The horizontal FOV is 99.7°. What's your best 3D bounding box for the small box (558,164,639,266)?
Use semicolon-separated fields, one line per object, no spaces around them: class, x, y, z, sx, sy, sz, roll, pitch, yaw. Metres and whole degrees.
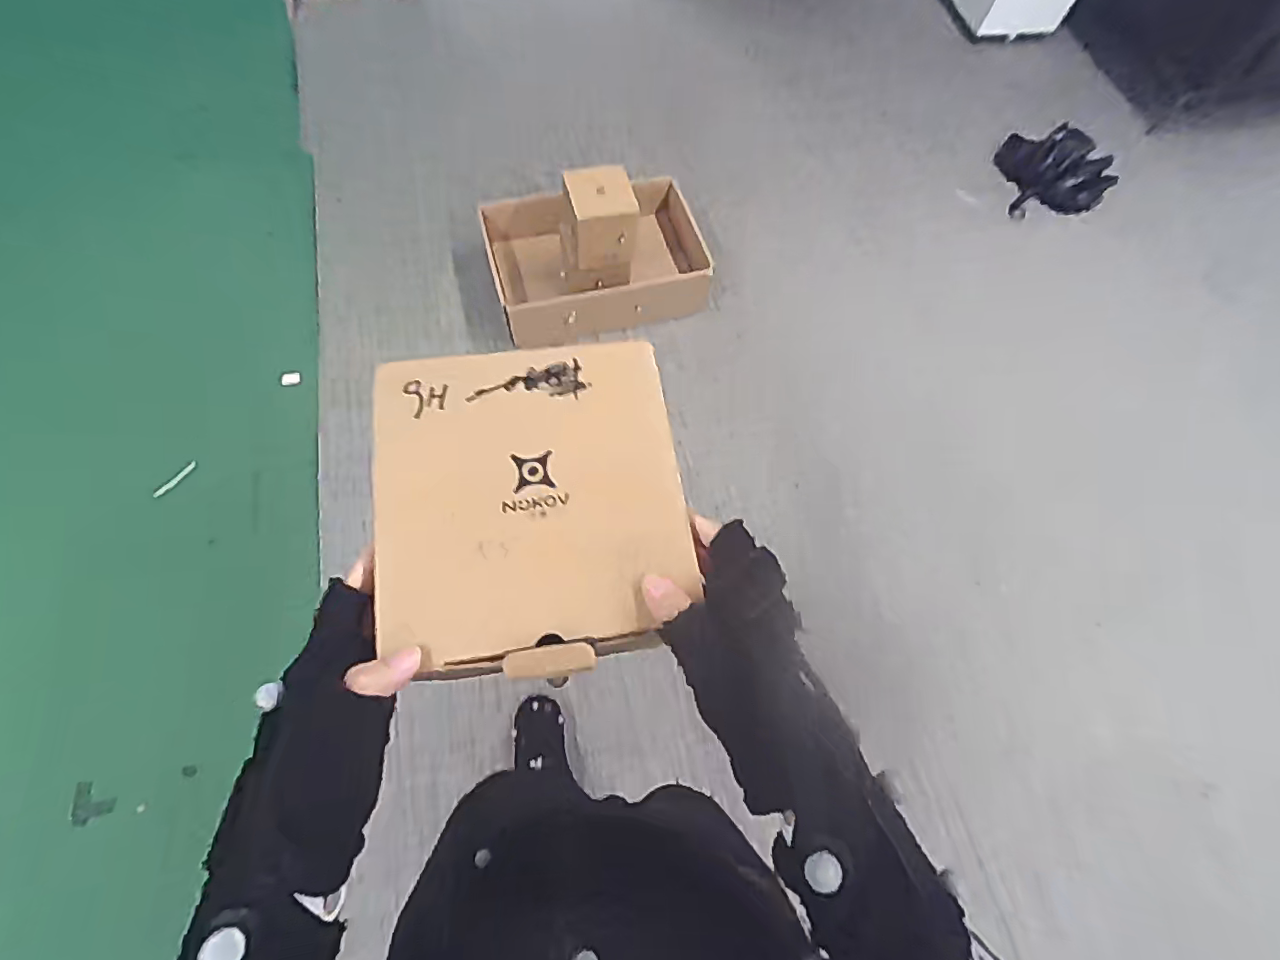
small box;-0.111;-0.697;1.443;0.168;0.176;0.179;-18;70;-12

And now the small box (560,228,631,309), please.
small box;-0.133;-0.636;1.609;0.179;0.176;0.168;-14;68;-8

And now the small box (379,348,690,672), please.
small box;-0.070;0.031;0.385;0.168;0.176;0.179;-7;72;-9
